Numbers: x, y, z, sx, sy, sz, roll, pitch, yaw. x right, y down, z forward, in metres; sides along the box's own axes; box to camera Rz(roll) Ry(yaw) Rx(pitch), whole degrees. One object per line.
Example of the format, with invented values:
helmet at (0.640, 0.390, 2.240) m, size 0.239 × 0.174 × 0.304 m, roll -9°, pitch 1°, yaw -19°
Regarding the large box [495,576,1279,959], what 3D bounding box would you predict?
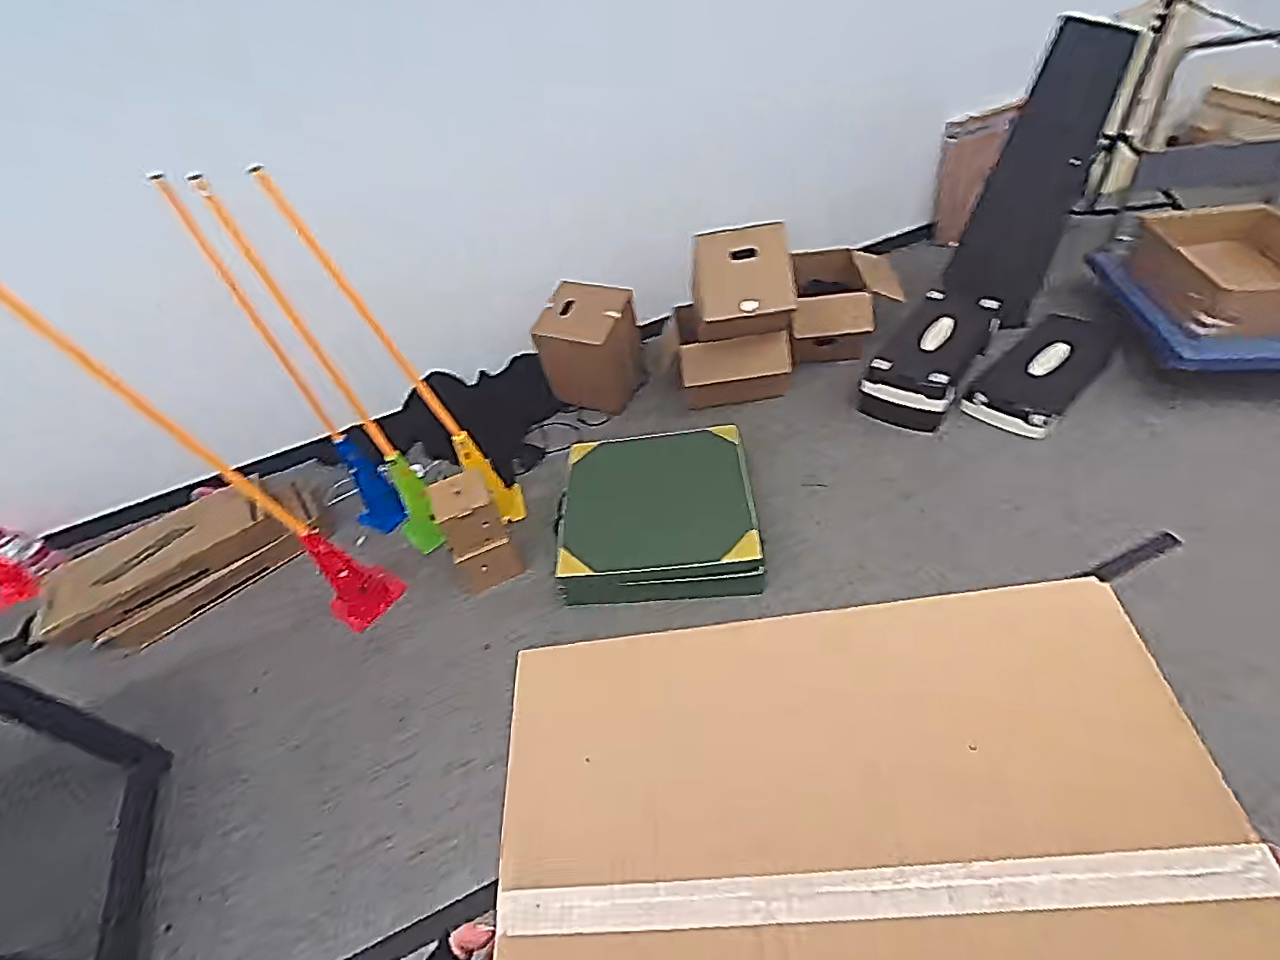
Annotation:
large box at (0.141, 0.307, 0.424) m, size 0.408 × 0.320 × 0.320 m, roll -11°, pitch 53°, yaw 9°
